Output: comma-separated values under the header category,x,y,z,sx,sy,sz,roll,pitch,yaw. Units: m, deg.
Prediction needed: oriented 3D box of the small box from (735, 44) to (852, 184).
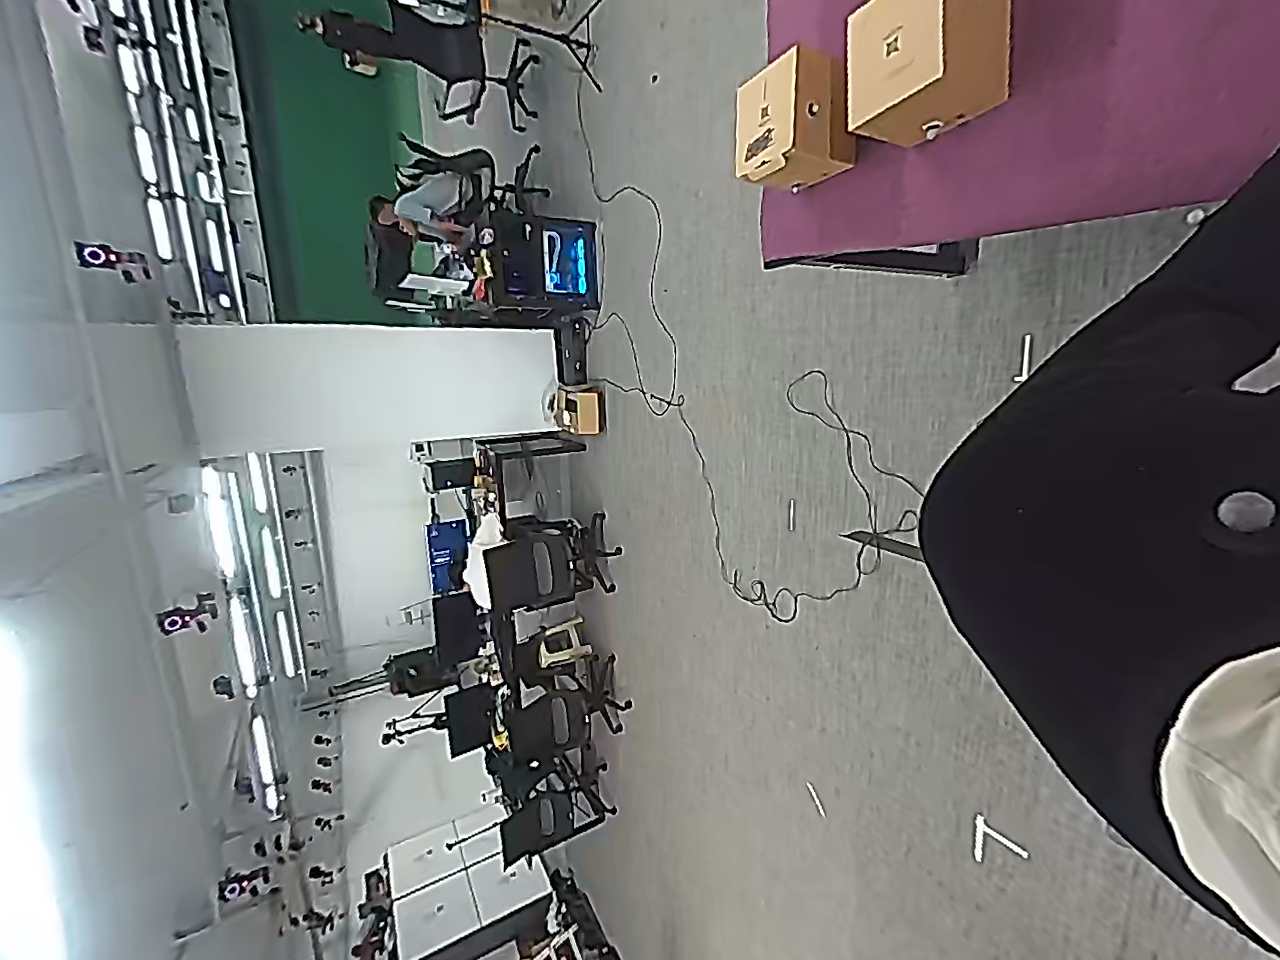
category,x,y,z,sx,sy,sz,roll,pitch,yaw
small box,0.308,-0.714,1.084,0.168,0.176,0.179,16,109,59

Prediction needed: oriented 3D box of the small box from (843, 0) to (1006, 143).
category,x,y,z,sx,sy,sz,roll,pitch,yaw
small box,0.445,-0.668,0.850,0.168,0.176,0.179,11,106,61
